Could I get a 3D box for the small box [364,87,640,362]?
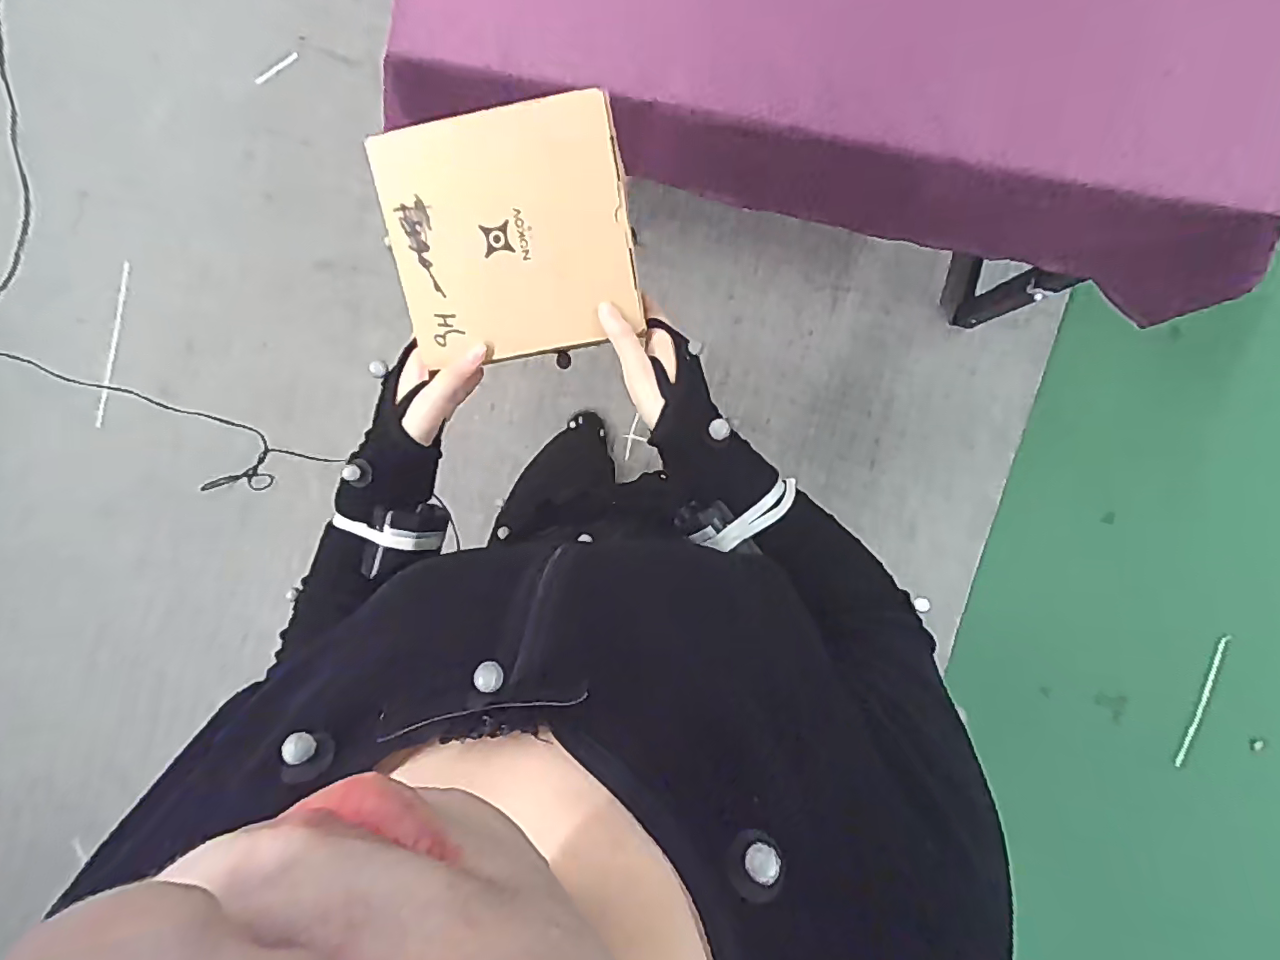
[{"bbox_3d":[-0.096,-0.200,0.470,0.179,0.176,0.168,-8,103,3],"label":"small box"}]
